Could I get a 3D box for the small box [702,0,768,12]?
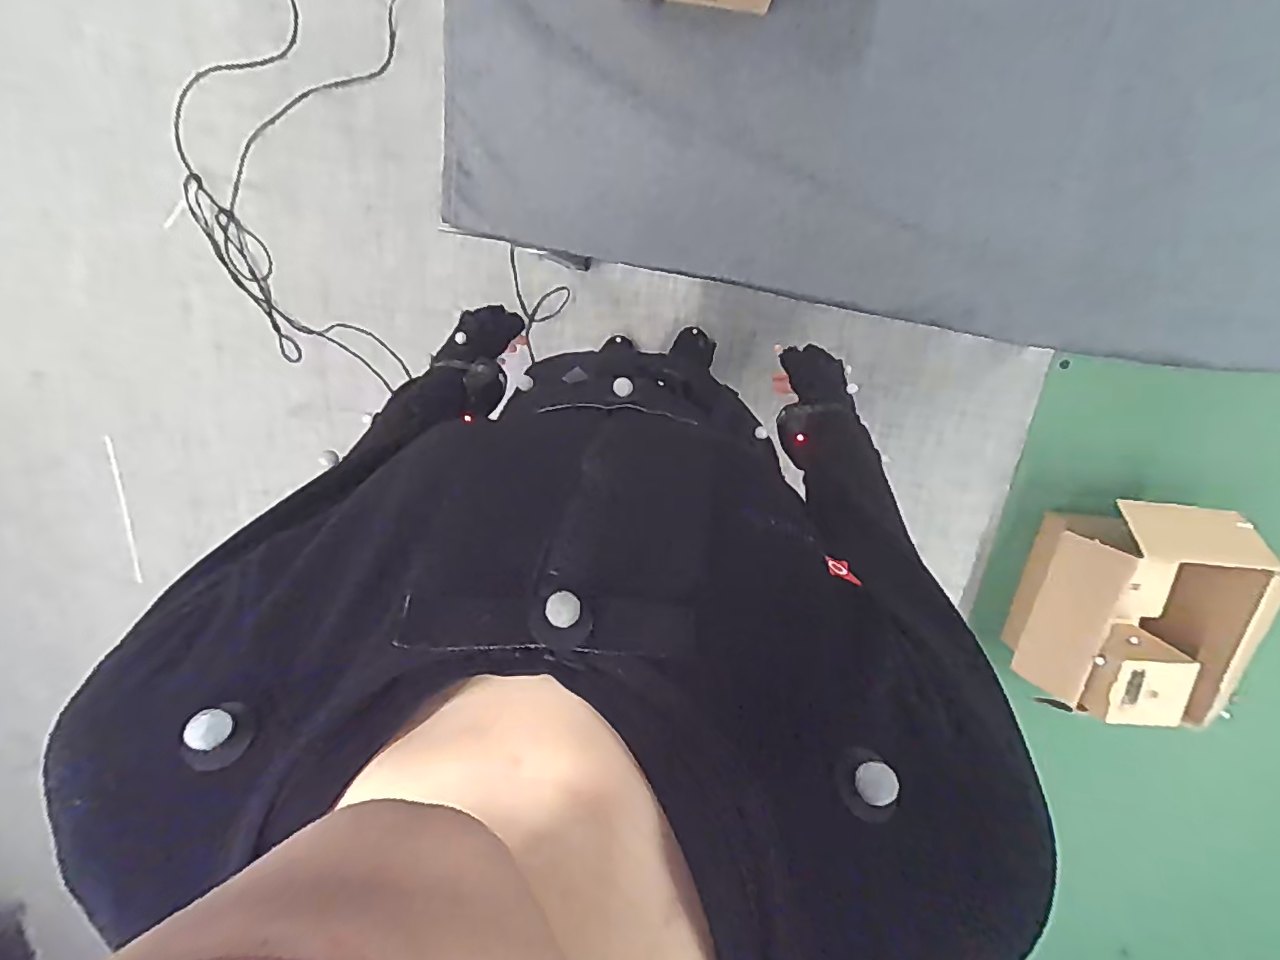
[{"bbox_3d":[0.065,-0.569,0.482,0.168,0.176,0.179,9,106,0],"label":"small box"}]
